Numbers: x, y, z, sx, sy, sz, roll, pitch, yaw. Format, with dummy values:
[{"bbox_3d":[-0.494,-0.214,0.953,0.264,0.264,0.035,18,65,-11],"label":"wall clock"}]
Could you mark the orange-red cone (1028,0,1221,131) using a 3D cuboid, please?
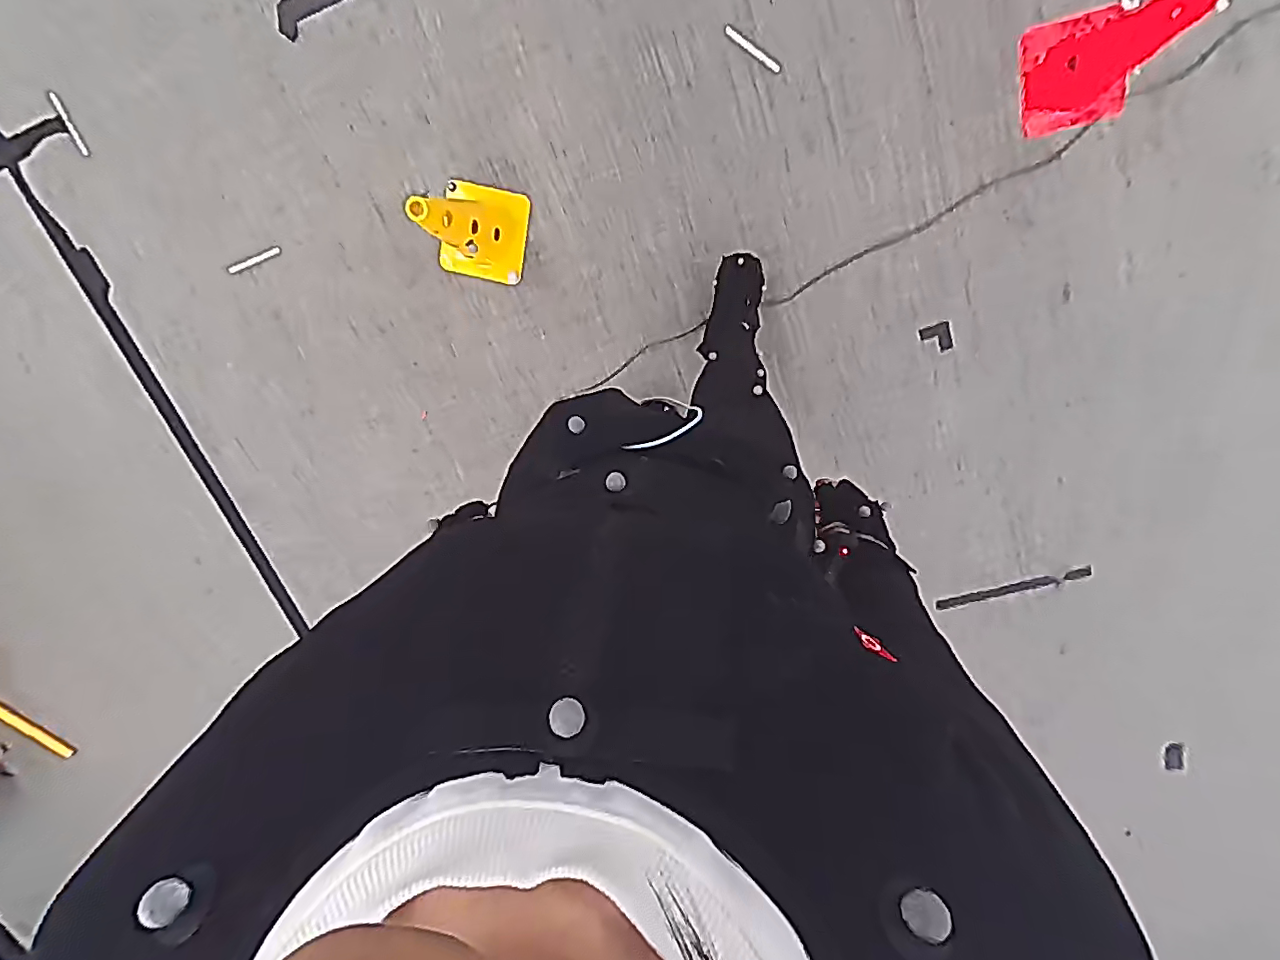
[{"bbox_3d":[0.884,-0.792,0.944,0.199,0.360,0.198,-10,106,9],"label":"orange-red cone"}]
